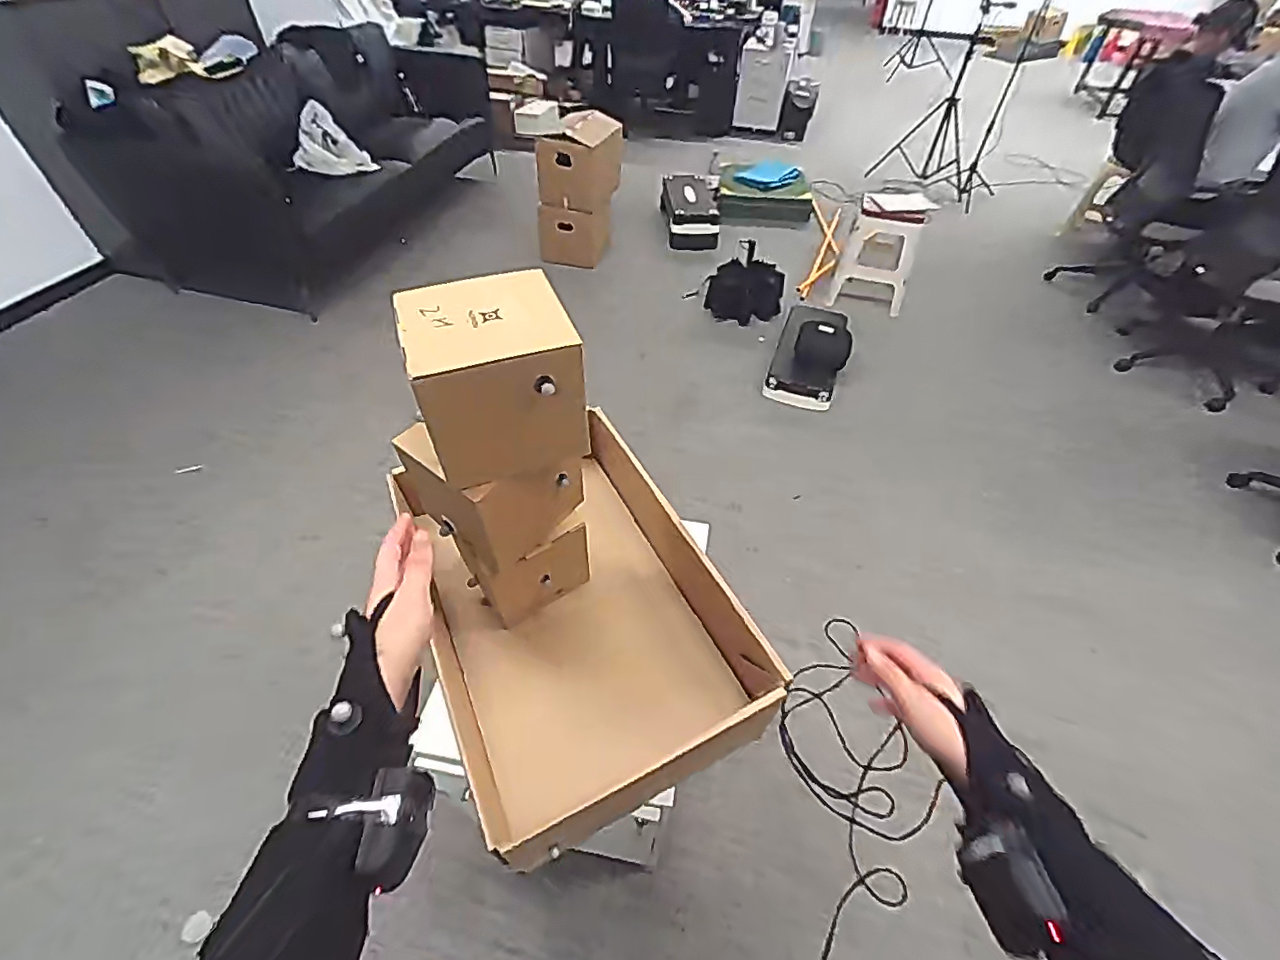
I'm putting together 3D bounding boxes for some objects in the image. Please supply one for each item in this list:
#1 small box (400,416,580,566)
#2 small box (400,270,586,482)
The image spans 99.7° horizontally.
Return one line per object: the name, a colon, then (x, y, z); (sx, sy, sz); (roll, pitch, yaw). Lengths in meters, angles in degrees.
small box: (-0.200, -0.014, 0.776); (0.168, 0.176, 0.179); (30, 57, 24)
small box: (-0.169, -0.125, 0.654); (0.179, 0.176, 0.168); (-17, 51, -14)
